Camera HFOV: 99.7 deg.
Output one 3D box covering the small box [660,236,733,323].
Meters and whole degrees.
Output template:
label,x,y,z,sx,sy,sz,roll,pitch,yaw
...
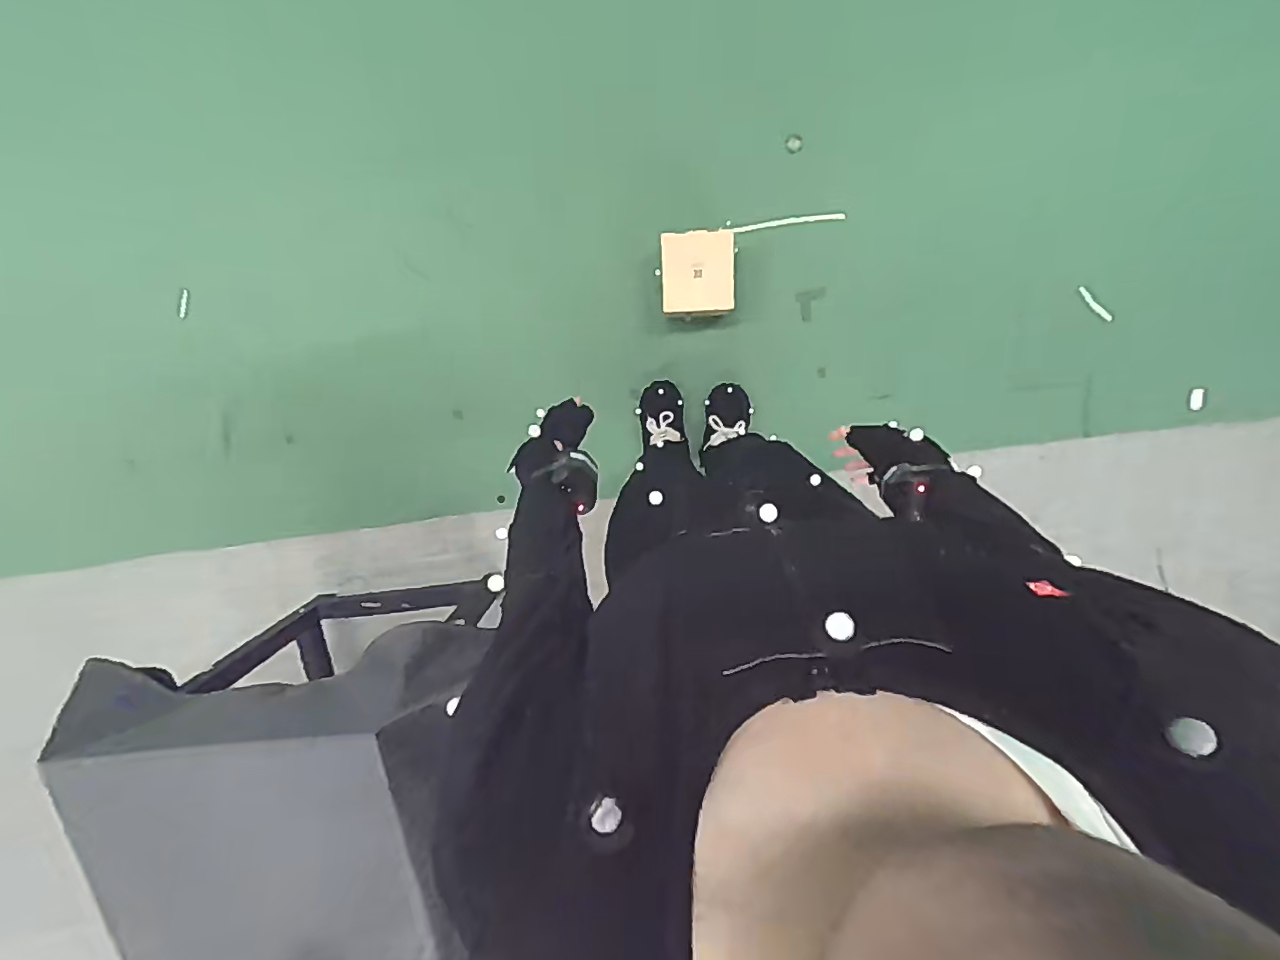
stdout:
label,x,y,z,sx,sy,sz,roll,pitch,yaw
small box,0.136,-0.481,1.319,0.168,0.176,0.179,-2,100,3
